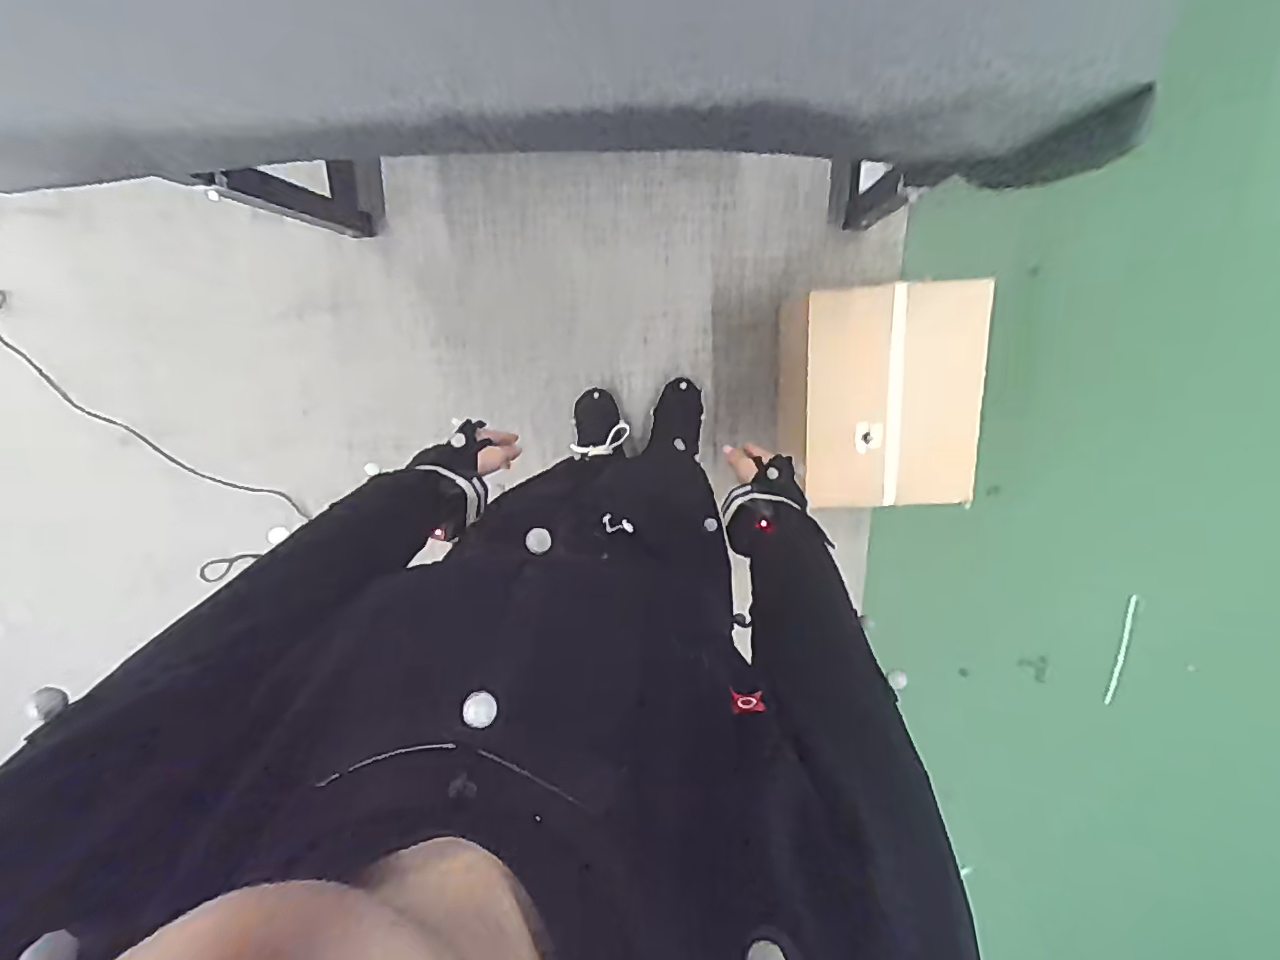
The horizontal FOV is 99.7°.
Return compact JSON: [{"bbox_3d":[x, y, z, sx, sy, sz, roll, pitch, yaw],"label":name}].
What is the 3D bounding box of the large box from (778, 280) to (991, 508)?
[{"bbox_3d":[0.474,-0.182,1.128,0.320,0.320,0.408,-2,104,5],"label":"large box"}]
